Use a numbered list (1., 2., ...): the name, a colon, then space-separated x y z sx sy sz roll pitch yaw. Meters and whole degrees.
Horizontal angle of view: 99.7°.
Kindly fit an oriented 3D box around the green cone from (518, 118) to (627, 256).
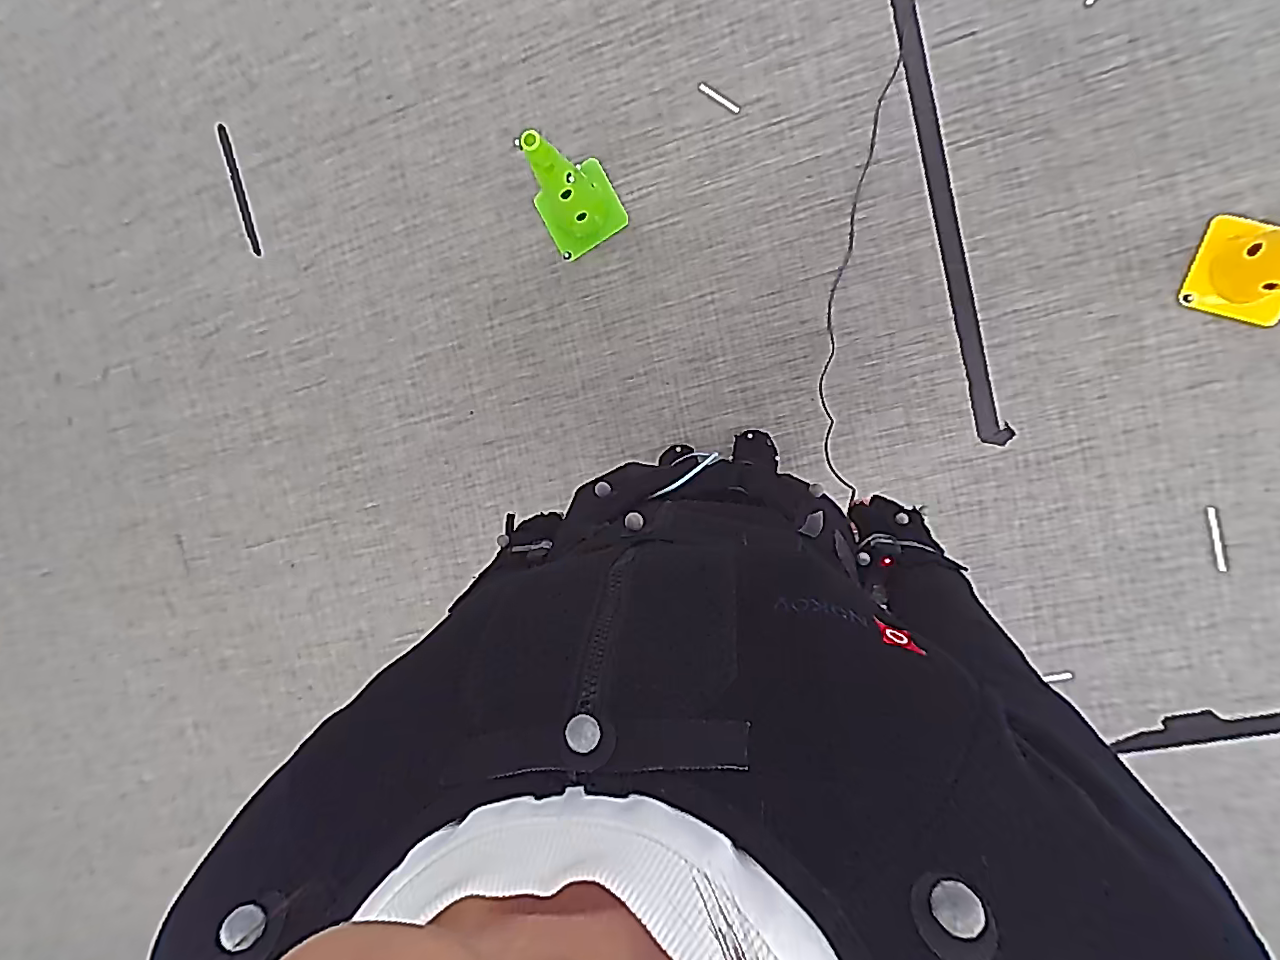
1. green cone: -0.185 -0.702 1.239 0.200 0.368 0.202 -29 88 11
